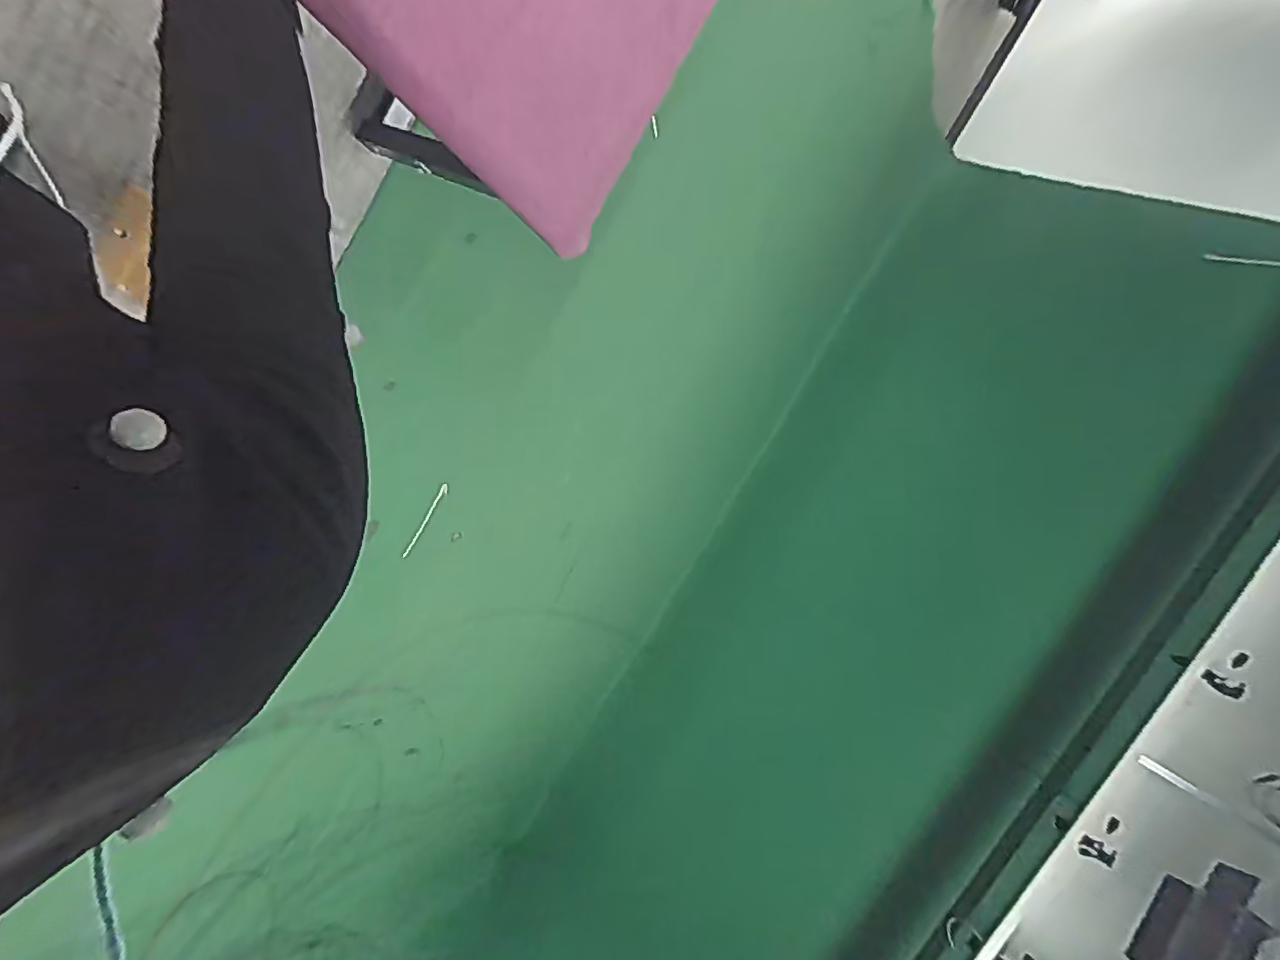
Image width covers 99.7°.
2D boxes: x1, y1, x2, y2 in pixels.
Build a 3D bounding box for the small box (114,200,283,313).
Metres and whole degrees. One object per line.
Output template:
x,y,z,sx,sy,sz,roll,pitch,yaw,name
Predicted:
-0.804,-0.369,0.982,0.179,0.176,0.168,-58,151,0,small box
